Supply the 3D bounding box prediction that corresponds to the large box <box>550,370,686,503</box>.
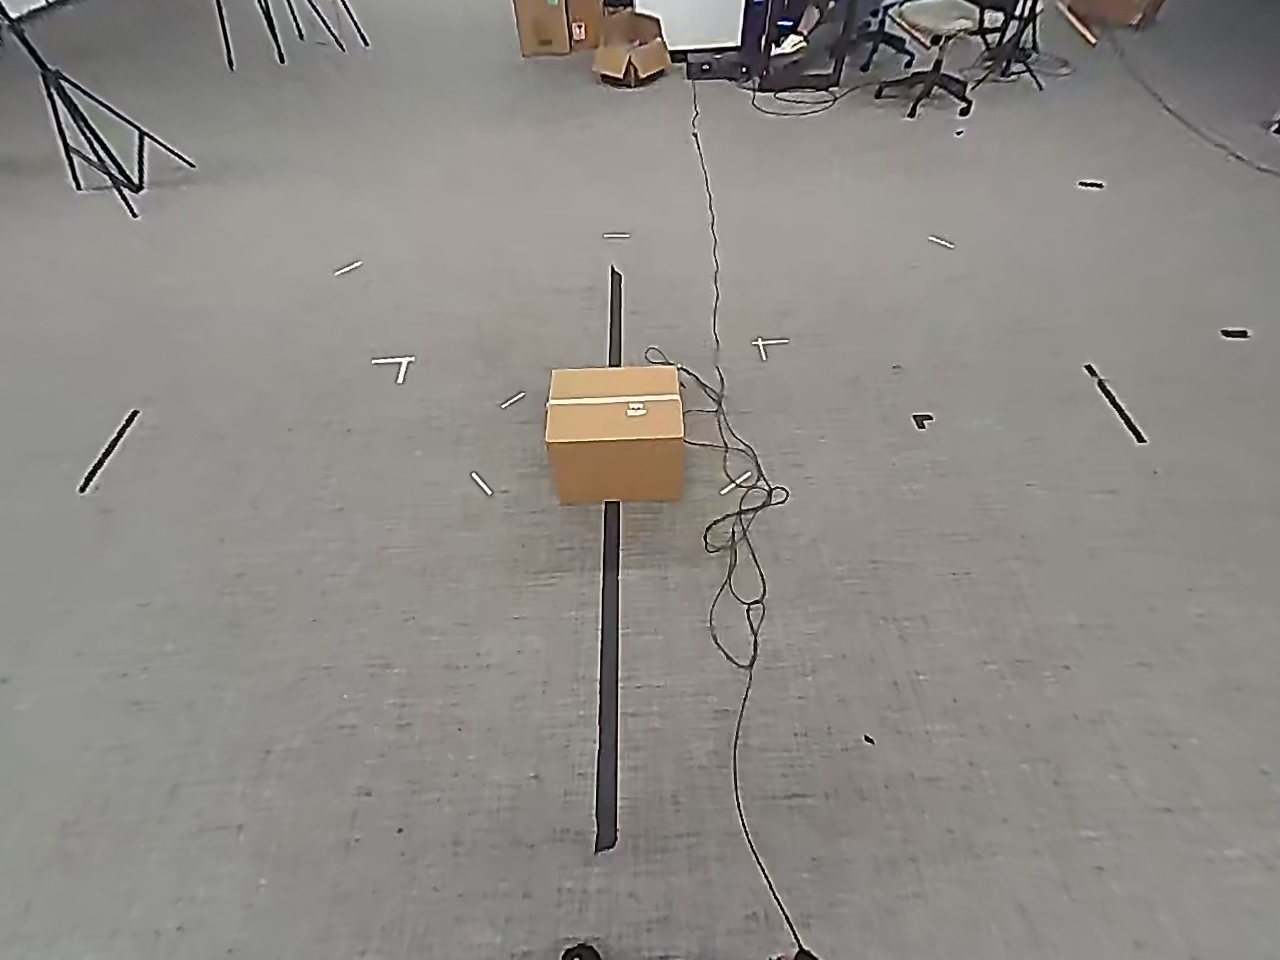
[{"bbox_3d":[-0.069,-0.137,1.770,0.408,0.320,0.320,-1,53,0],"label":"large box"}]
